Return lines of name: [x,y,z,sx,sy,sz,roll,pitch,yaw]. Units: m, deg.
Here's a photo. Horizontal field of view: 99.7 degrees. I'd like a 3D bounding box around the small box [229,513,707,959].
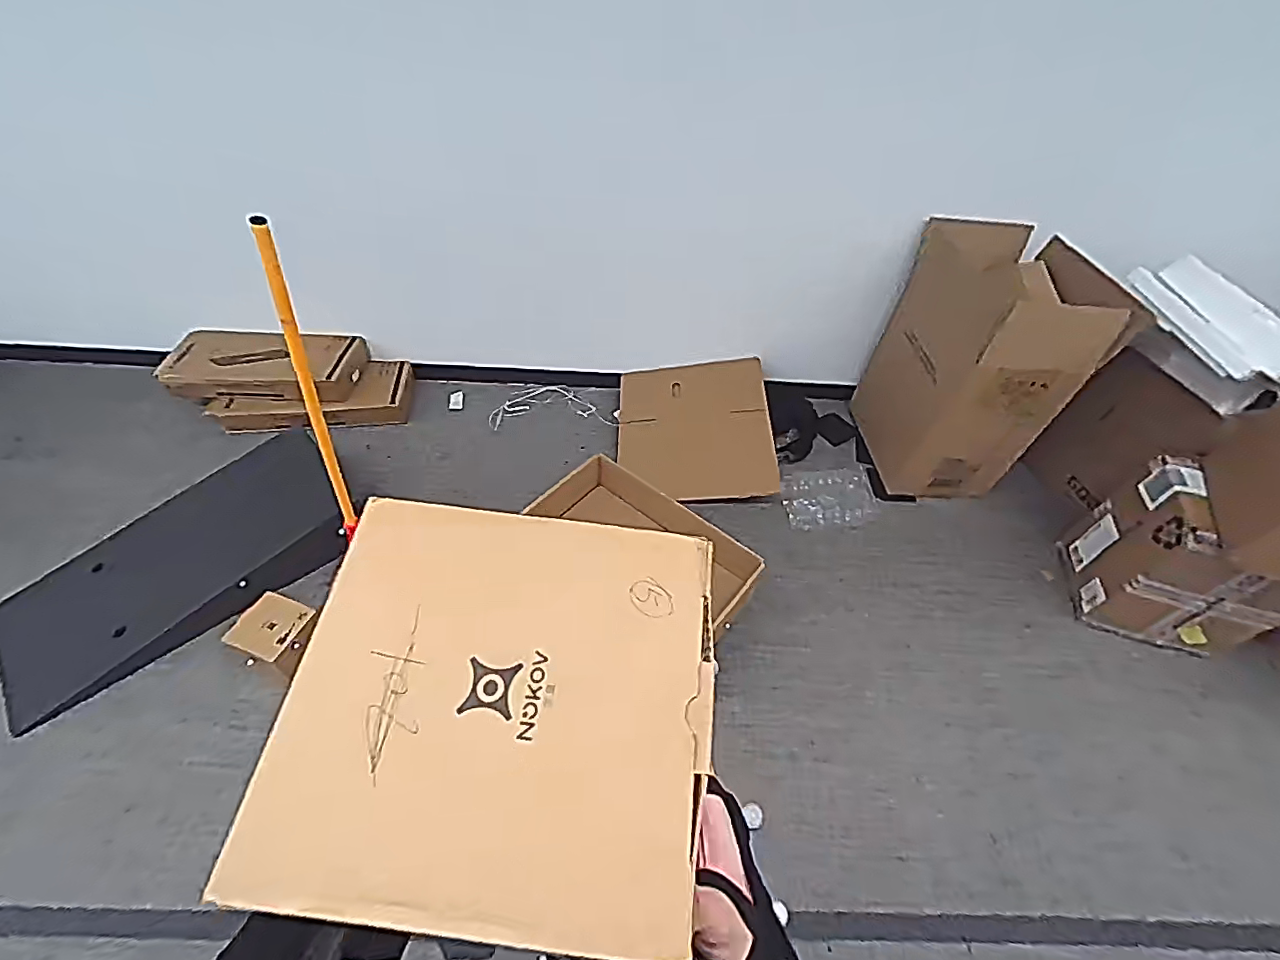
small box: [-0.063,0.137,0.309,0.179,0.176,0.168,6,58,2]
